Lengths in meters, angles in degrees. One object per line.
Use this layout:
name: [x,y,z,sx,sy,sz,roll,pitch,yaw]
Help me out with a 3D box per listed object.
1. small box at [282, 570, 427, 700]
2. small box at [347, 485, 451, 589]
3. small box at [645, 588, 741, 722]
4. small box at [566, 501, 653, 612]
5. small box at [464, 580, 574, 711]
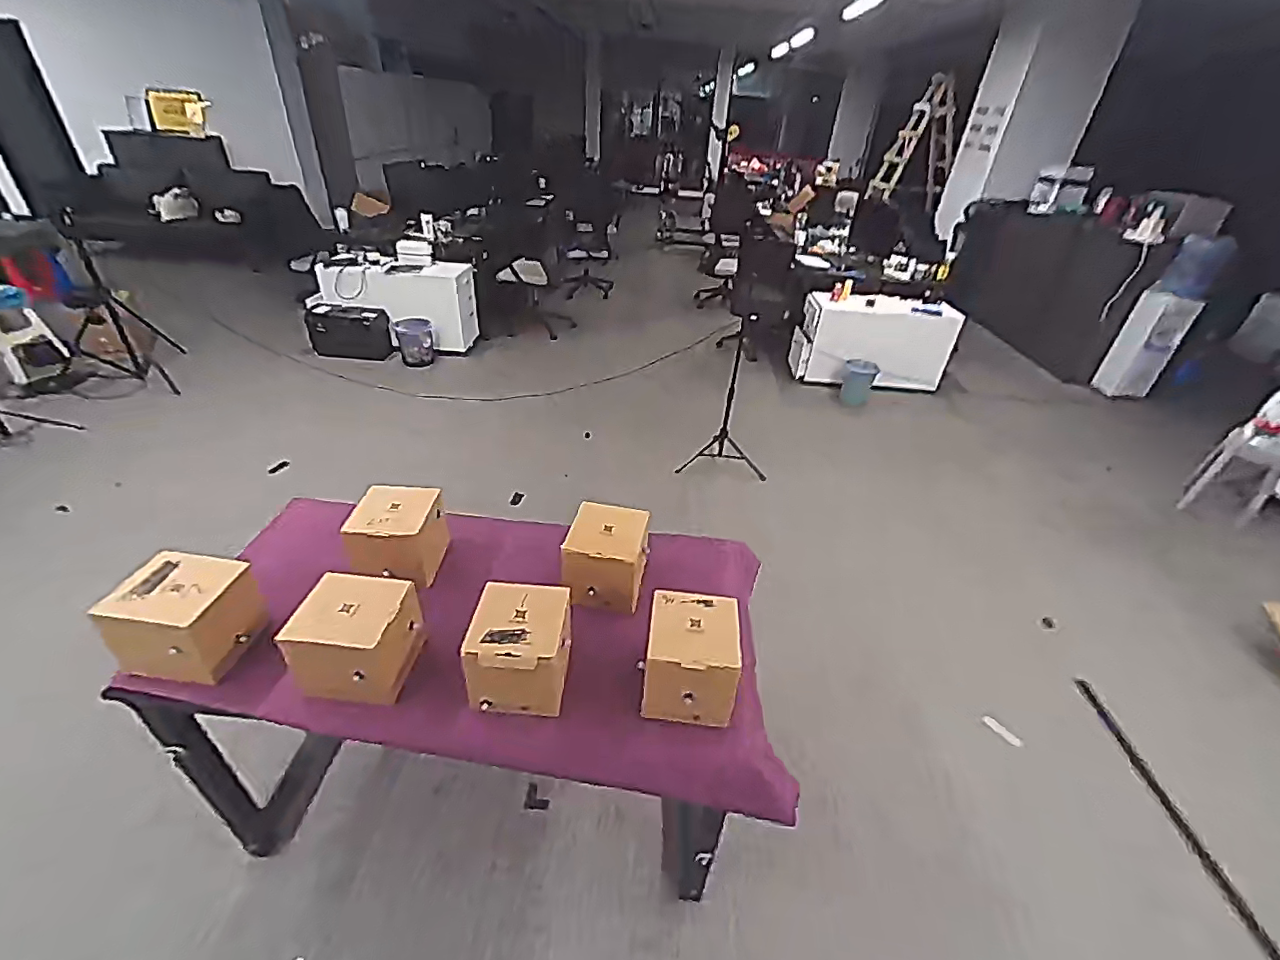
small box: [-0.530,0.299,1.036,0.179,0.176,0.168,6,34,2]
small box: [-0.556,0.134,1.278,0.168,0.176,0.179,3,35,-1]
small box: [0.101,0.337,1.041,0.168,0.176,0.179,6,33,4]
small box: [-0.070,0.178,1.266,0.168,0.176,0.179,8,36,7]
small box: [-0.221,0.319,1.038,0.168,0.176,0.179,4,33,0]
